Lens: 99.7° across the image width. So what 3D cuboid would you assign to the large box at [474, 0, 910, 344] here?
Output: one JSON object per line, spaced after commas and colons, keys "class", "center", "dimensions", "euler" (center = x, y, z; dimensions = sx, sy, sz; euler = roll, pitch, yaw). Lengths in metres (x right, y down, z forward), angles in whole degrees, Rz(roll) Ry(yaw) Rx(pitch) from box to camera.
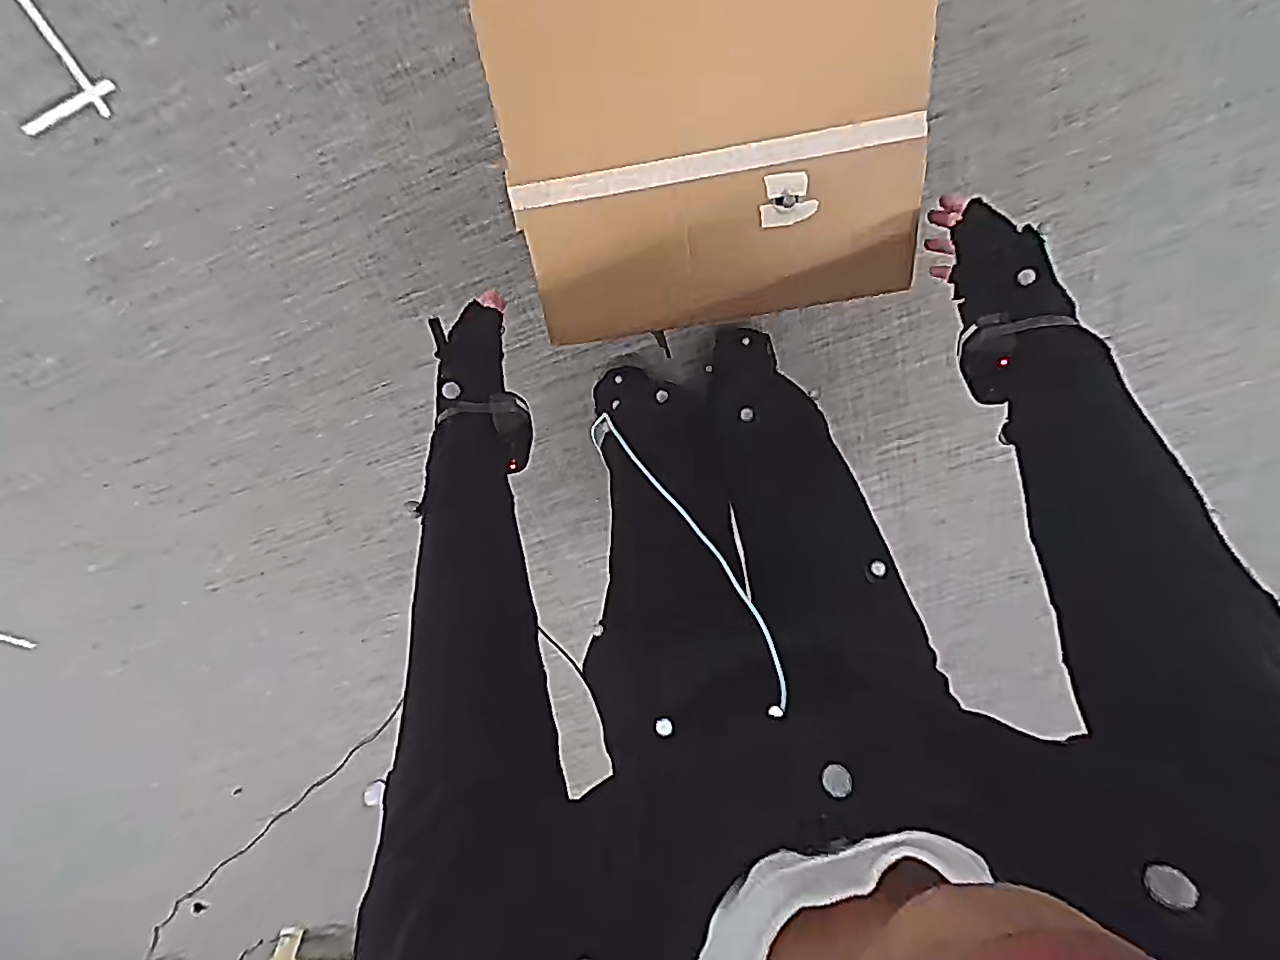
{"class": "large box", "center": [0.061, -0.395, 0.680], "dimensions": [0.408, 0.320, 0.320], "euler": [-9, 121, 3]}
